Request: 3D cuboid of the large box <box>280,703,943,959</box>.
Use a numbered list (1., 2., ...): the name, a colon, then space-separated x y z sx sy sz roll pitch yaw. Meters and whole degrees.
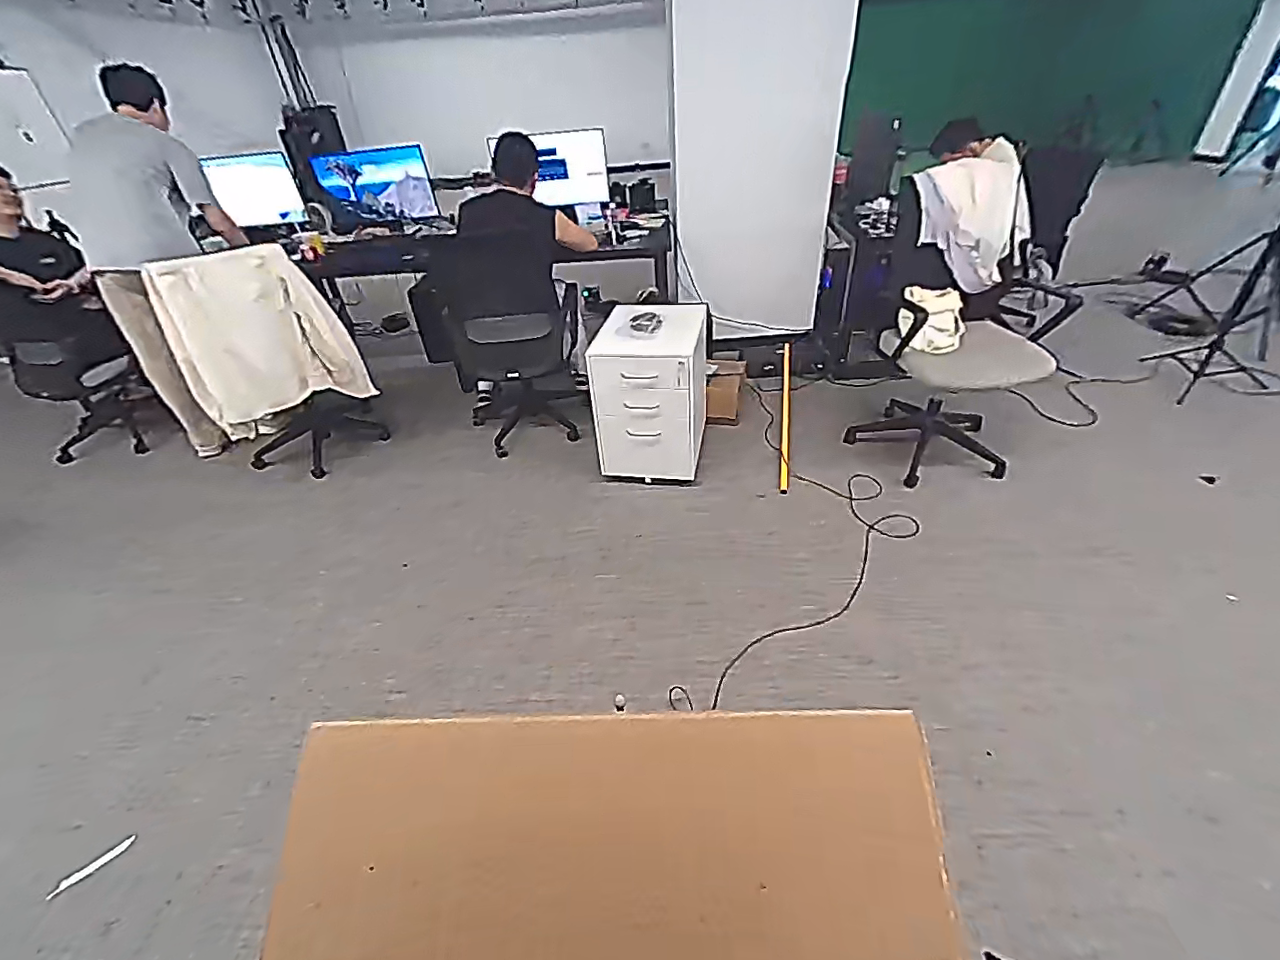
1. large box: -0.016 0.364 0.452 0.408 0.320 0.320 -1 68 -1
